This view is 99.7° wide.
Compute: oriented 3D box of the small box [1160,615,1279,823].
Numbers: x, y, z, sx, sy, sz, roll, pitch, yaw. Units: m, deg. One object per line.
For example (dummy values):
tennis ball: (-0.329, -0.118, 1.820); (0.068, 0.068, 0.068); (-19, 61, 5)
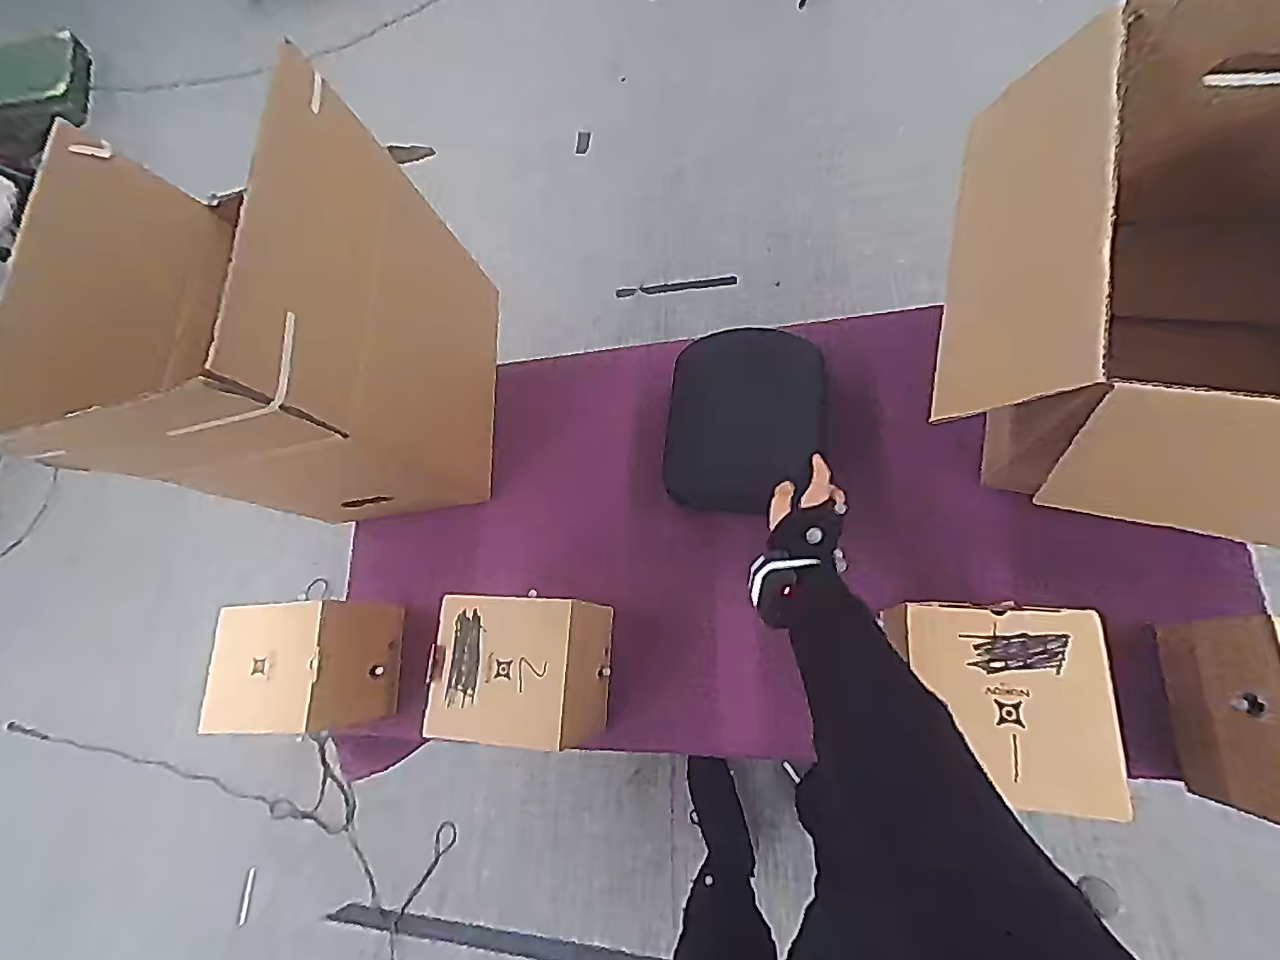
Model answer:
small box: (0.630, 0.222, 0.491); (0.168, 0.176, 0.179); (-1, 73, 16)

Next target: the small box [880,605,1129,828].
small box: (0.356, 0.230, 0.568); (0.168, 0.176, 0.179); (-1, 74, 16)

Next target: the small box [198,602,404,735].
small box: (-0.480, 0.273, 0.789); (0.179, 0.176, 0.168); (-6, 72, 12)
